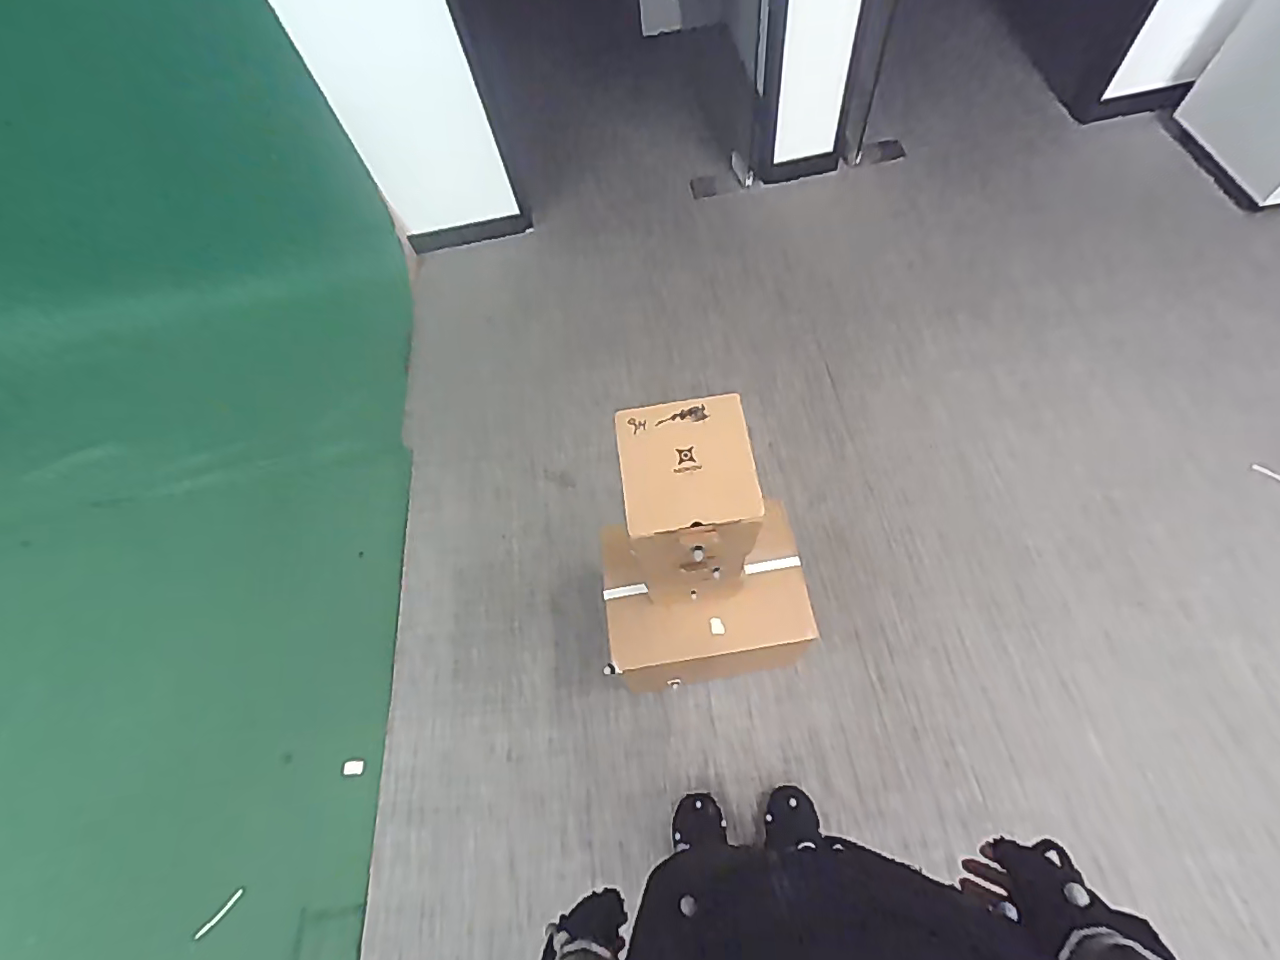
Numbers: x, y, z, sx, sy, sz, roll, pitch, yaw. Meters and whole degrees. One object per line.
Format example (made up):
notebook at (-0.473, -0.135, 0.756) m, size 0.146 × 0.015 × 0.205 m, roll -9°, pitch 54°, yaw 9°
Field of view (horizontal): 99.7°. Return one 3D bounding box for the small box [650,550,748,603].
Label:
small box at (0.100, 0.134, 1.050) m, size 0.179 × 0.176 × 0.168 m, roll -11°, pitch 68°, yaw 2°

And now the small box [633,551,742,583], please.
small box at (0.073, 0.069, 0.904) m, size 0.168 × 0.176 × 0.179 m, roll -8°, pitch 67°, yaw 3°

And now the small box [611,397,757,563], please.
small box at (0.061, 0.011, 0.751) m, size 0.168 × 0.176 × 0.179 m, roll -9°, pitch 68°, yaw 3°
